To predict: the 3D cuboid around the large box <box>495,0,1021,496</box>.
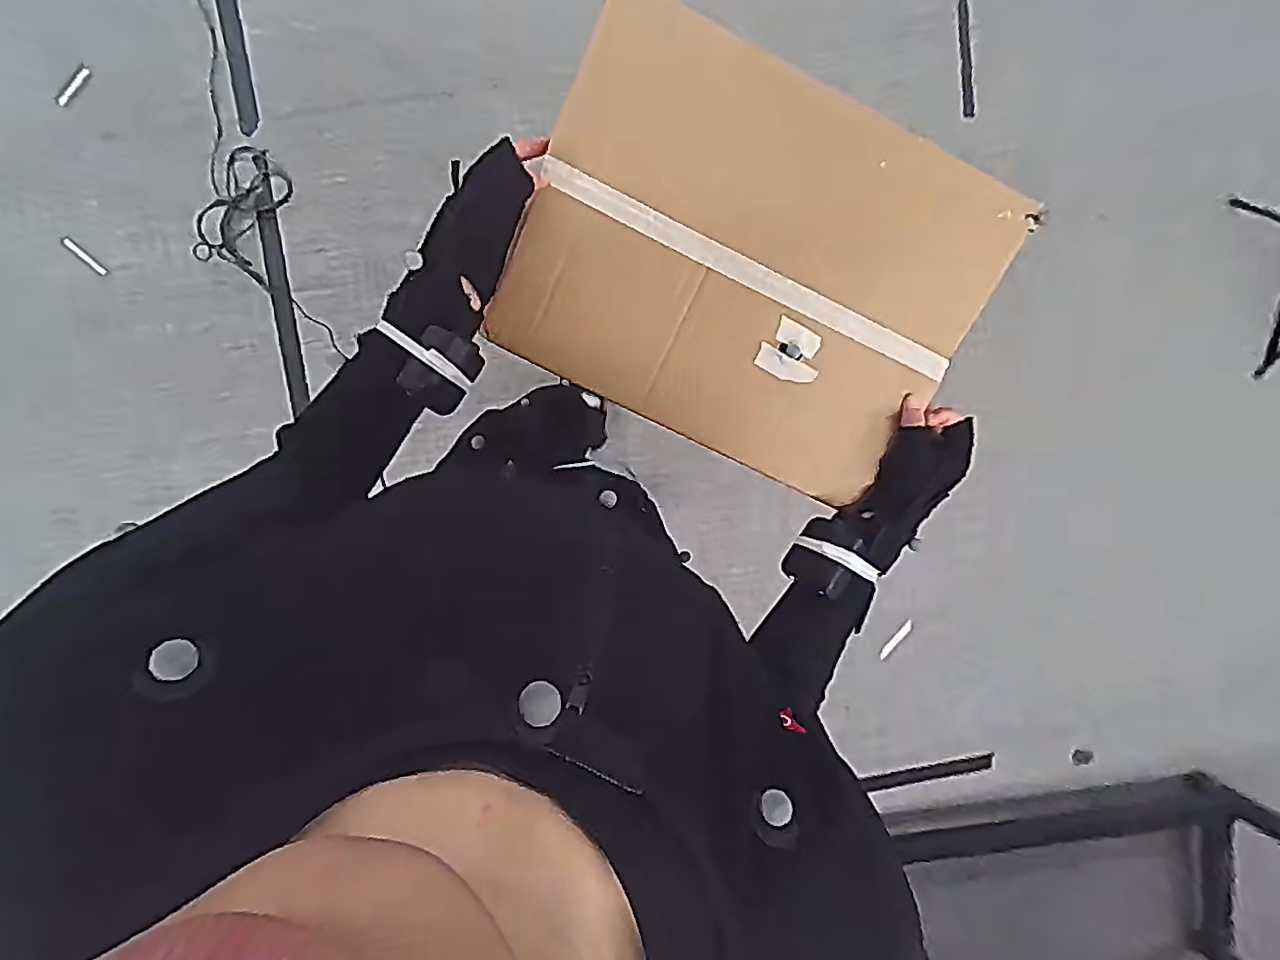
[{"bbox_3d":[0.101,-0.229,0.643,0.408,0.320,0.320,25,103,-6],"label":"large box"}]
